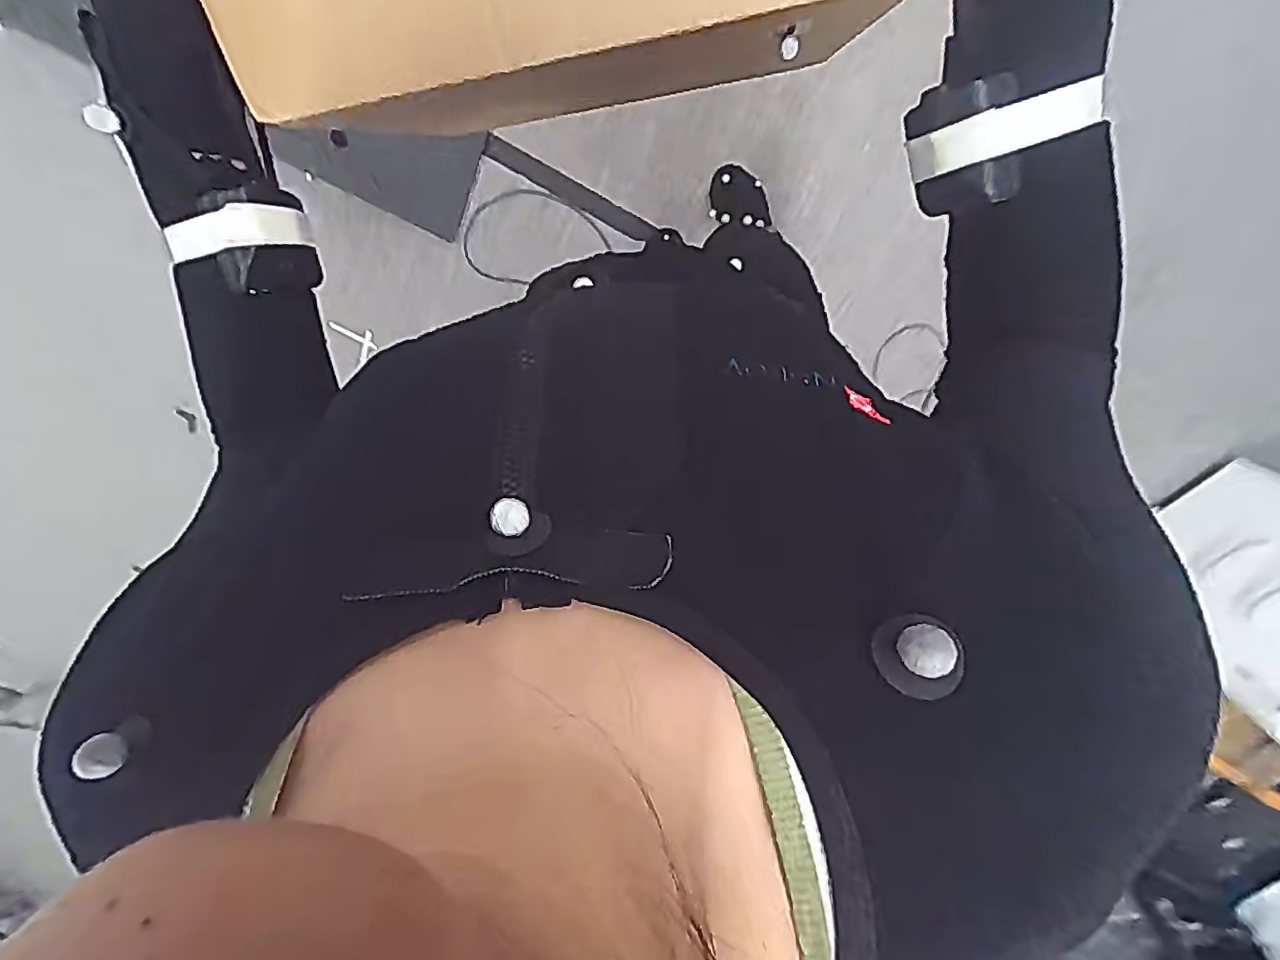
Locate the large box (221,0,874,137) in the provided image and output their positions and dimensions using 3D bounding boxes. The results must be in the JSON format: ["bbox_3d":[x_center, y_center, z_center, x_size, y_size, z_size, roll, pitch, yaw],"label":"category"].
[{"bbox_3d":[-0.053,-0.454,0.370,0.408,0.320,0.320,-6,120,9],"label":"large box"}]

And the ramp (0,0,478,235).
[{"bbox_3d":[-0.818,-0.979,1.112,0.991,0.206,0.509,25,115,-6],"label":"ramp"}]
